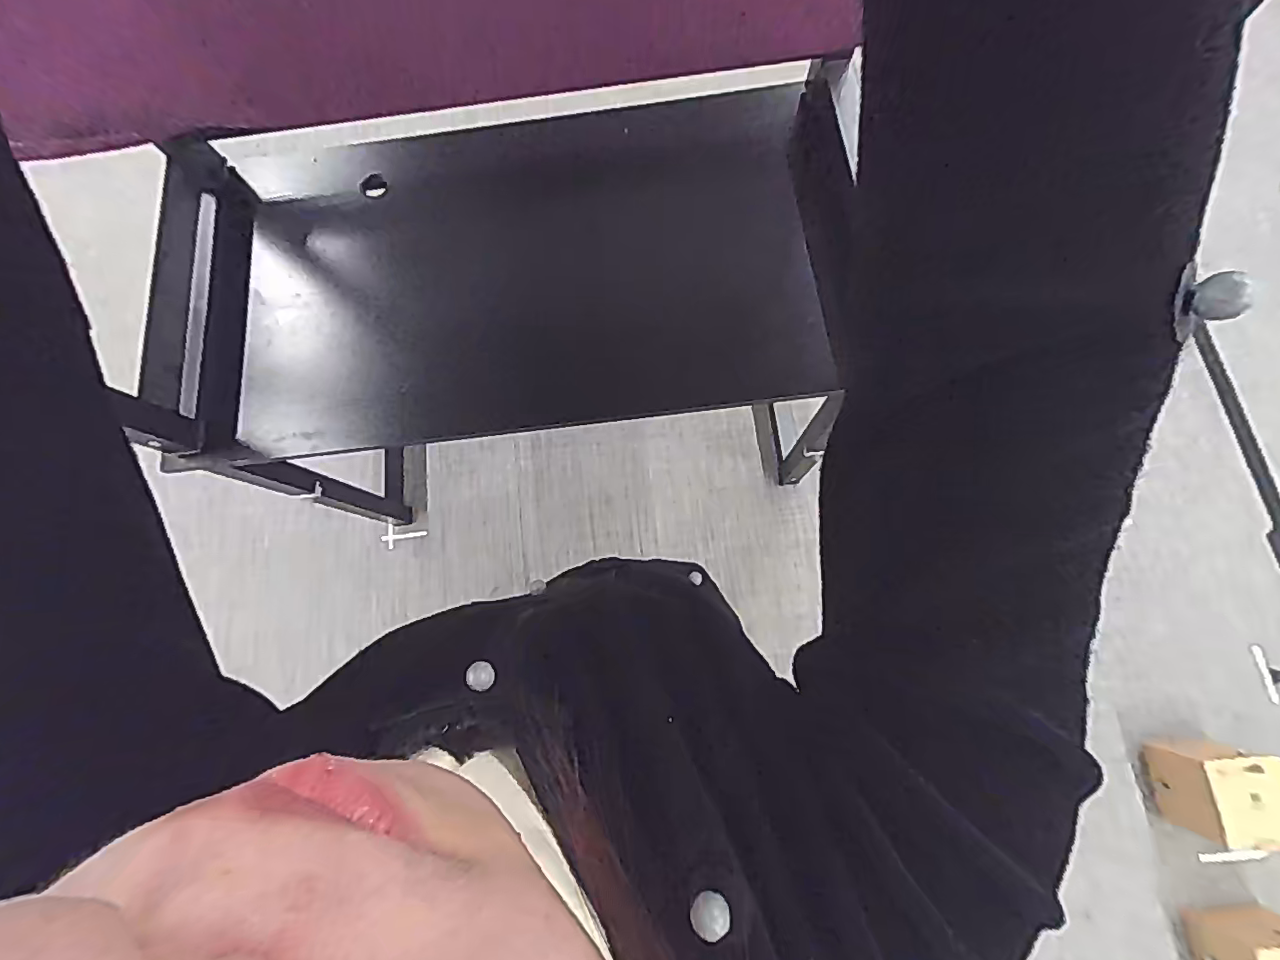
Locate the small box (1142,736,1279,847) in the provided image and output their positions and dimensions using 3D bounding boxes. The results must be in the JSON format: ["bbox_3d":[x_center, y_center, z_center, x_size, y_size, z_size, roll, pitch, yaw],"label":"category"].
[{"bbox_3d":[1.320,0.706,1.239,0.168,0.176,0.179,-5,78,2],"label":"small box"}]

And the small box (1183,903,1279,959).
[{"bbox_3d":[1.347,1.044,1.159,0.179,0.176,0.168,-5,76,3],"label":"small box"}]
